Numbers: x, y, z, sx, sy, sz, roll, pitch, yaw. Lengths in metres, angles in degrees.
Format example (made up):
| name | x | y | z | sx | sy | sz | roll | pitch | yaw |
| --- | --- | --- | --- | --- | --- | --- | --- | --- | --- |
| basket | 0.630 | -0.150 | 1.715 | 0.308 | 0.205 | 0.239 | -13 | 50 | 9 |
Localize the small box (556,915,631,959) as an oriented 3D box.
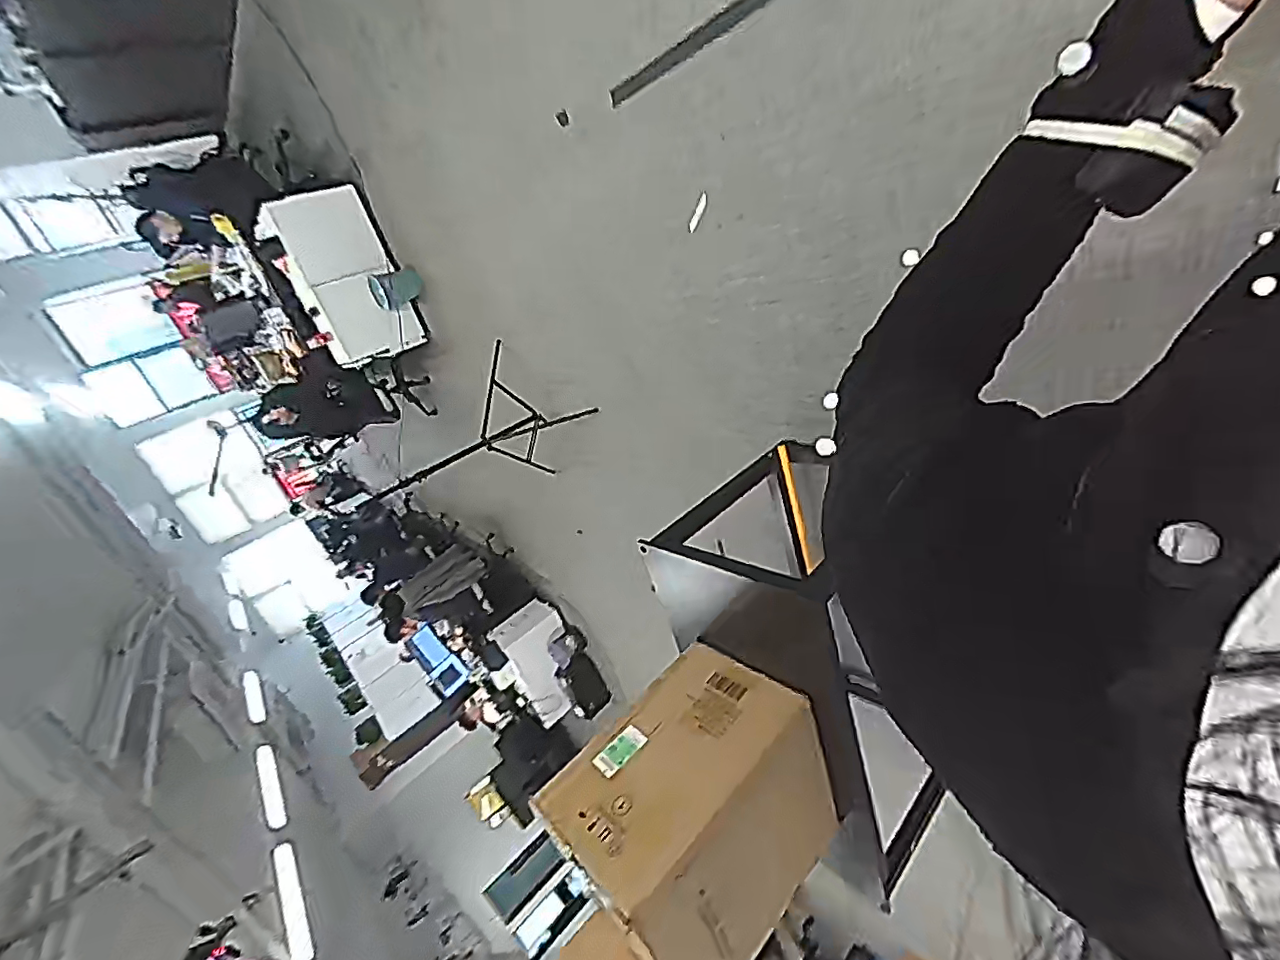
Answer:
| name | x | y | z | sx | sy | sz | roll | pitch | yaw |
| --- | --- | --- | --- | --- | --- | --- | --- | --- | --- |
| small box | -0.101 | 1.220 | 1.305 | 0.179 | 0.176 | 0.168 | 10 | 125 | 51 |
